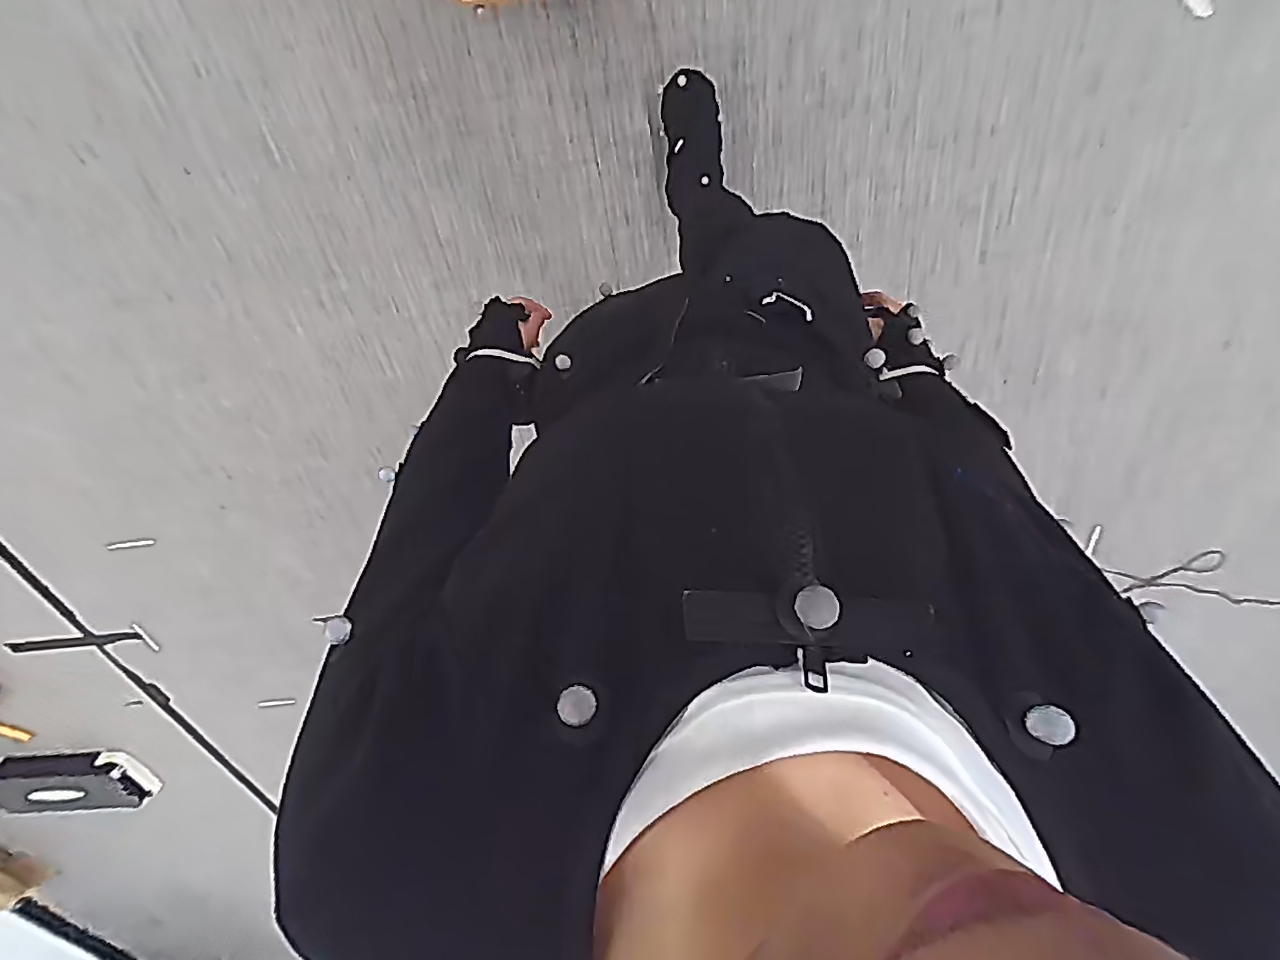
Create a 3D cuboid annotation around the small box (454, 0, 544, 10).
[{"bbox_3d":[-0.244,-0.885,0.865,0.168,0.176,0.179,-5,122,4],"label":"small box"}]
